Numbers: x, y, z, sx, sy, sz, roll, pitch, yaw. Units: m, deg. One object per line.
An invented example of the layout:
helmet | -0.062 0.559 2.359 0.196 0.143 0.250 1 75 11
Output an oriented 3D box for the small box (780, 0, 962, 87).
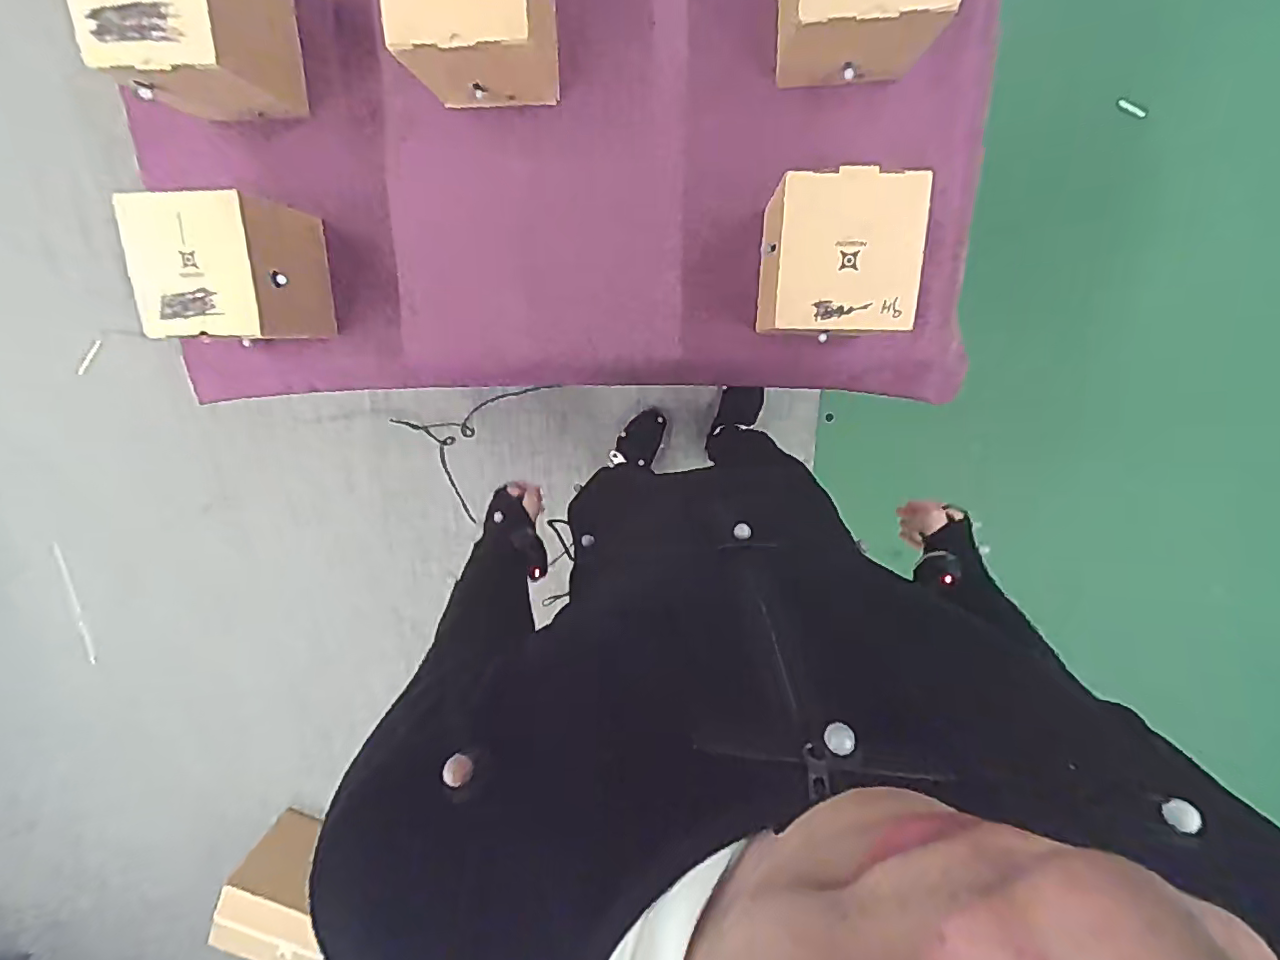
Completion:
small box | 0.257 -0.592 0.621 0.168 0.176 0.179 0 106 6

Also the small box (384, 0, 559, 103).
small box | -0.196 -0.590 0.655 0.168 0.176 0.179 0 106 3

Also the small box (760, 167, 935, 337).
small box | 0.253 -0.284 0.705 0.168 0.176 0.179 2 103 4

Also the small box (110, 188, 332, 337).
small box | -0.562 -0.291 0.754 0.168 0.176 0.179 0 104 3

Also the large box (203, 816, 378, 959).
large box | -1.257 1.523 1.973 0.408 0.320 0.320 23 106 -4
